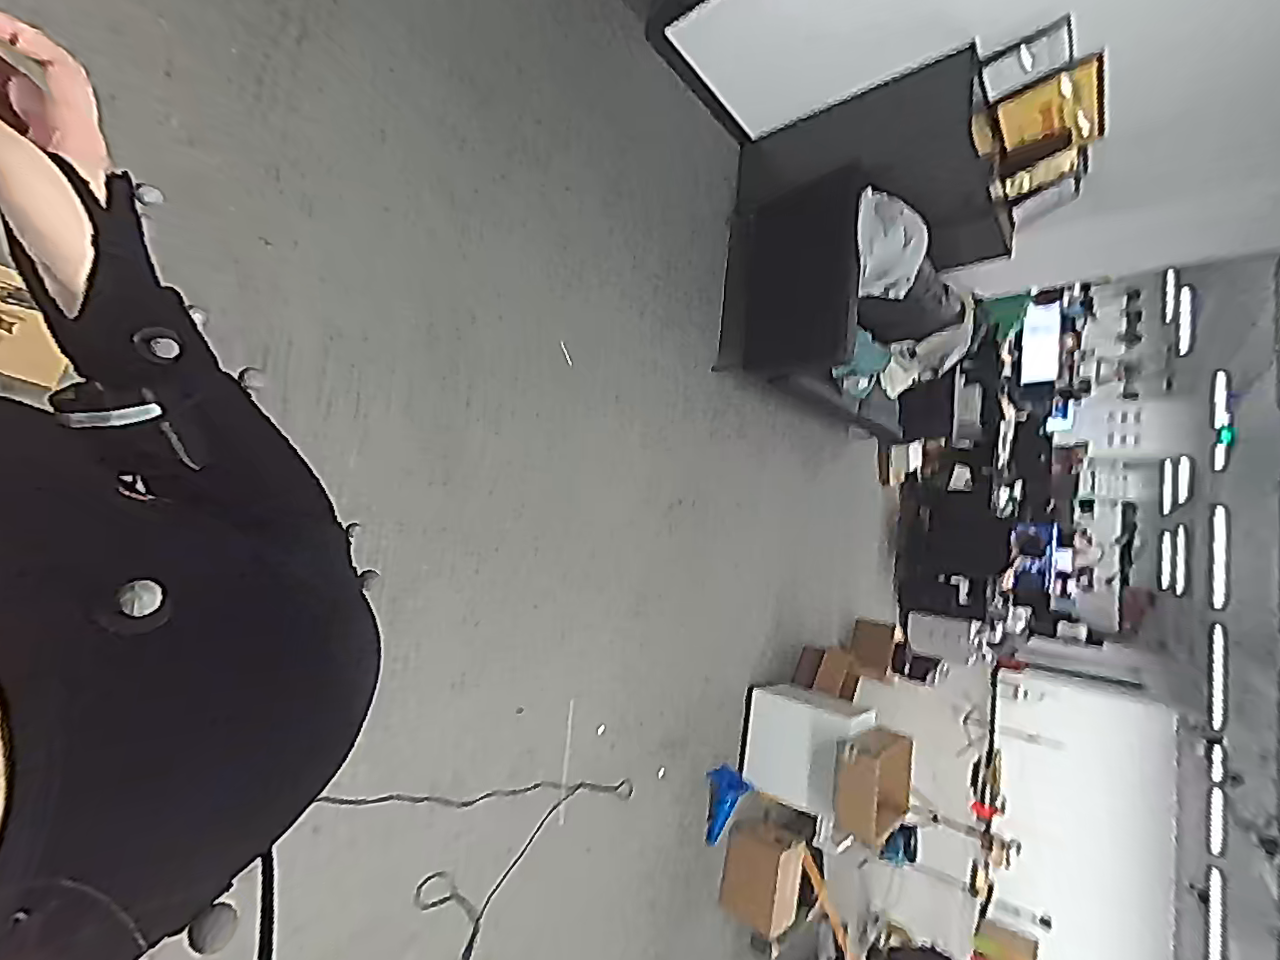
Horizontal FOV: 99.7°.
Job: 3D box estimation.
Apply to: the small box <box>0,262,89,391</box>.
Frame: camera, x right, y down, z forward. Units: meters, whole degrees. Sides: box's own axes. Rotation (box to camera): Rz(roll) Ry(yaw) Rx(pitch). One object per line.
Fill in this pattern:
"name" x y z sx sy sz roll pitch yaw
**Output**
"small box" -1.110 -0.268 0.935 0.168 0.176 0.179 26 72 -47
